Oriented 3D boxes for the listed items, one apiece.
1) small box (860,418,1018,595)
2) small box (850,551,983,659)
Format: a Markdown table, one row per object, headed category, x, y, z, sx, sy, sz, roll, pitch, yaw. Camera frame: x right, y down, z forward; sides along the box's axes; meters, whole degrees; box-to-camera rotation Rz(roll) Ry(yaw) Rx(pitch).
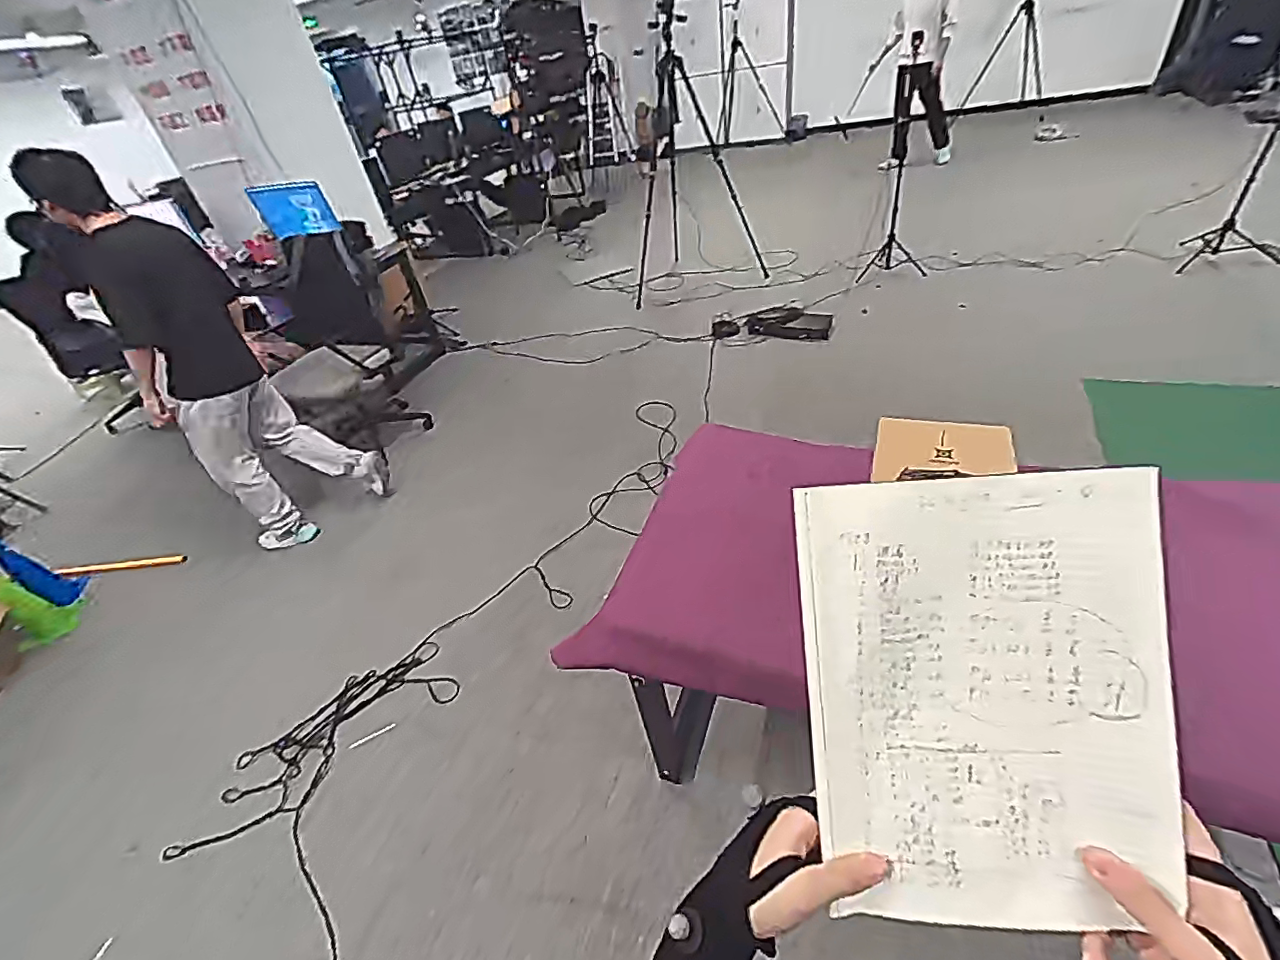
| category | x | y | z | sx | sy | sz | roll | pitch | yaw |
| --- | --- | --- | --- | --- | --- | --- | --- | --- | --- |
| small box | 0.410 | 0.034 | 0.762 | 0.168 | 0.176 | 0.179 | 9 | 41 | 23 |
| small box | 0.438 | 0.158 | 0.869 | 0.168 | 0.176 | 0.179 | 9 | 43 | 22 |
